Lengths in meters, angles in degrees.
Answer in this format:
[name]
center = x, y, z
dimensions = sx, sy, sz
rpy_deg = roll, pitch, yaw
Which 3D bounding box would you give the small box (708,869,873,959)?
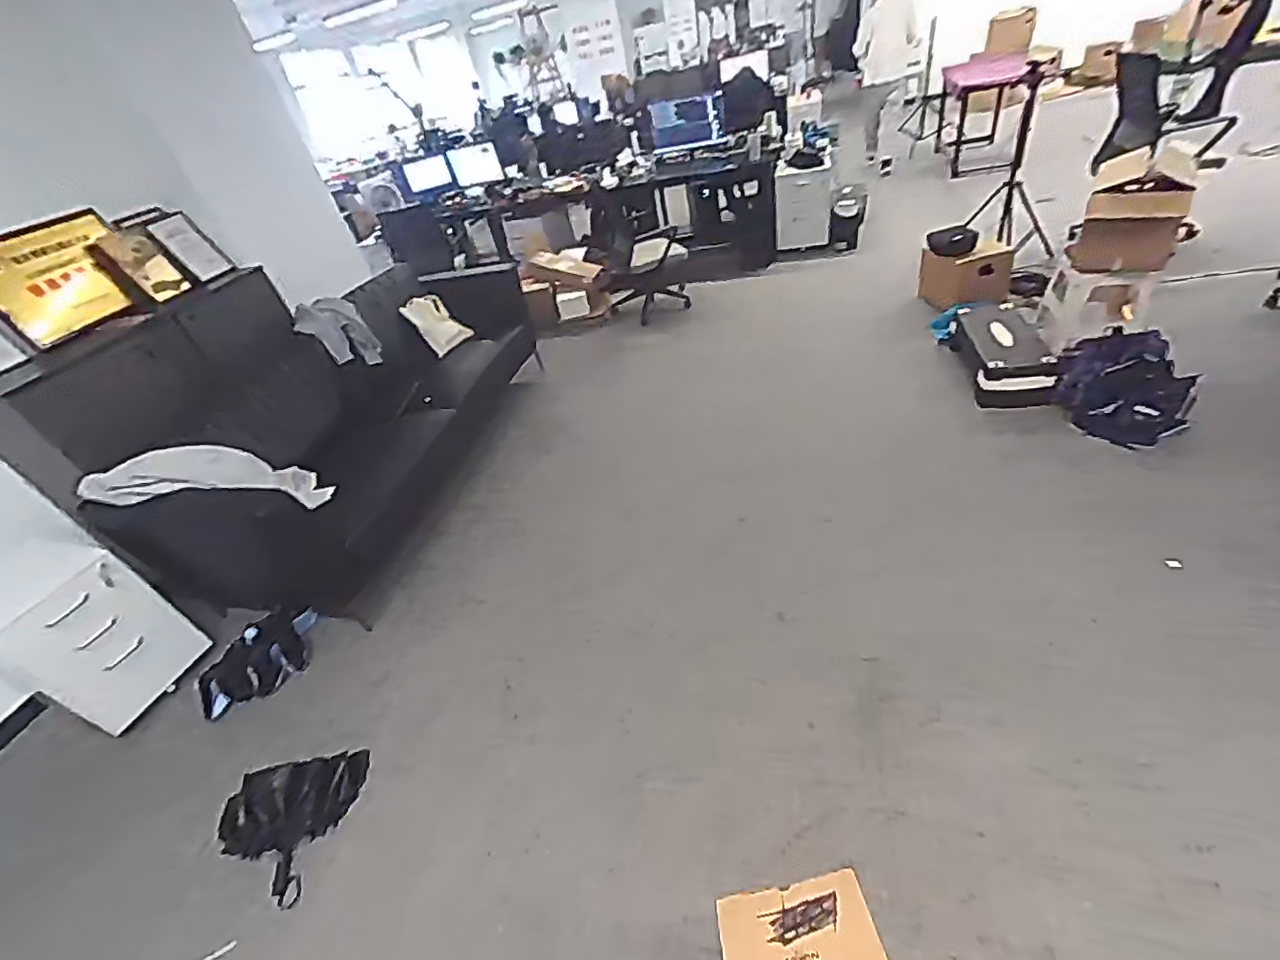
[small box]
center = 0.182, 0.576, 0.578
dimensions = 0.168, 0.176, 0.179
rpy_deg = -19, 16, 5
